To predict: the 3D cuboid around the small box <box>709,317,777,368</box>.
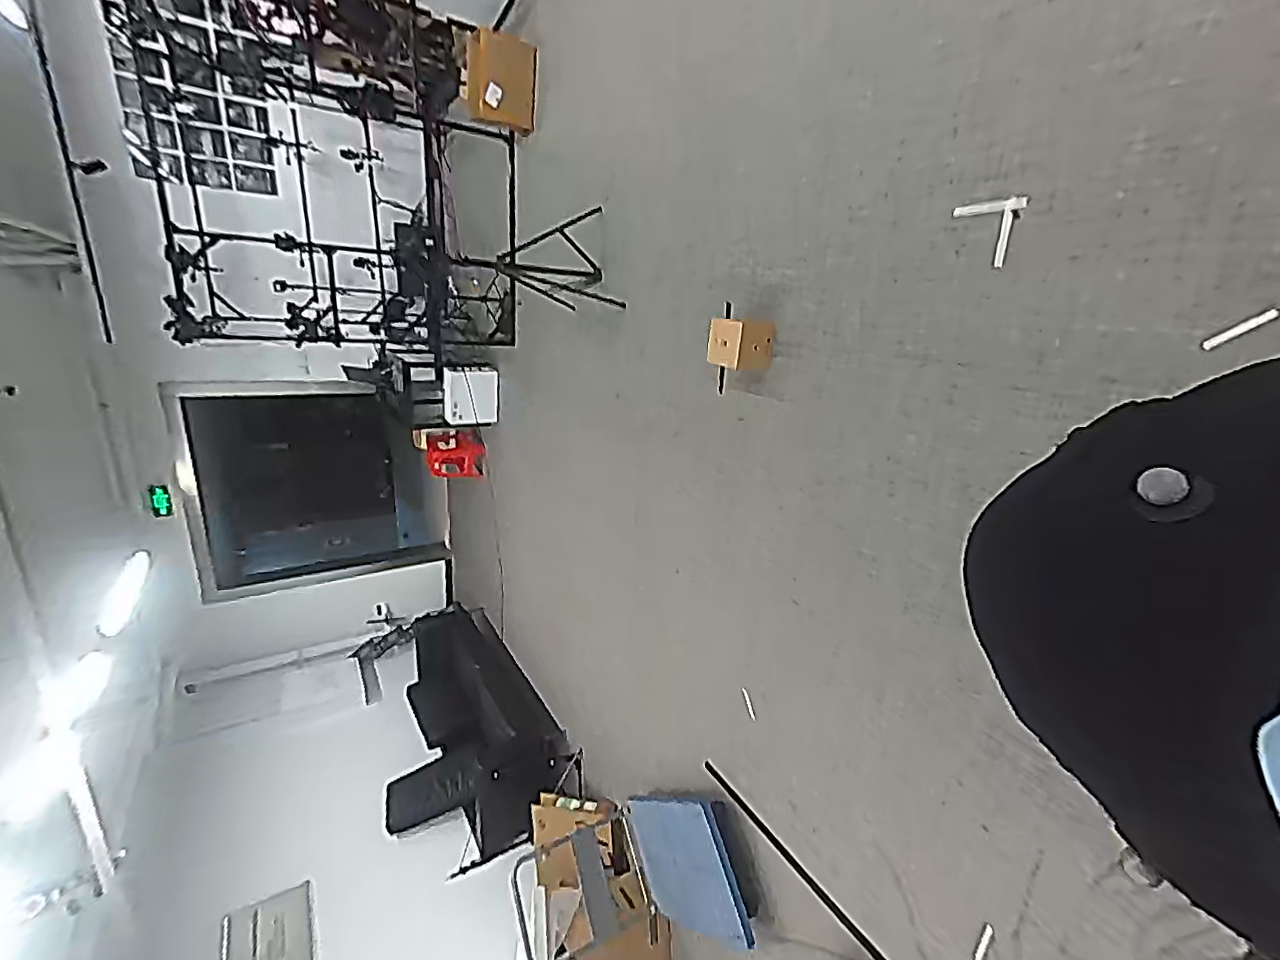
[{"bbox_3d":[0.388,-0.518,2.030,0.179,0.176,0.168,32,123,52],"label":"small box"}]
